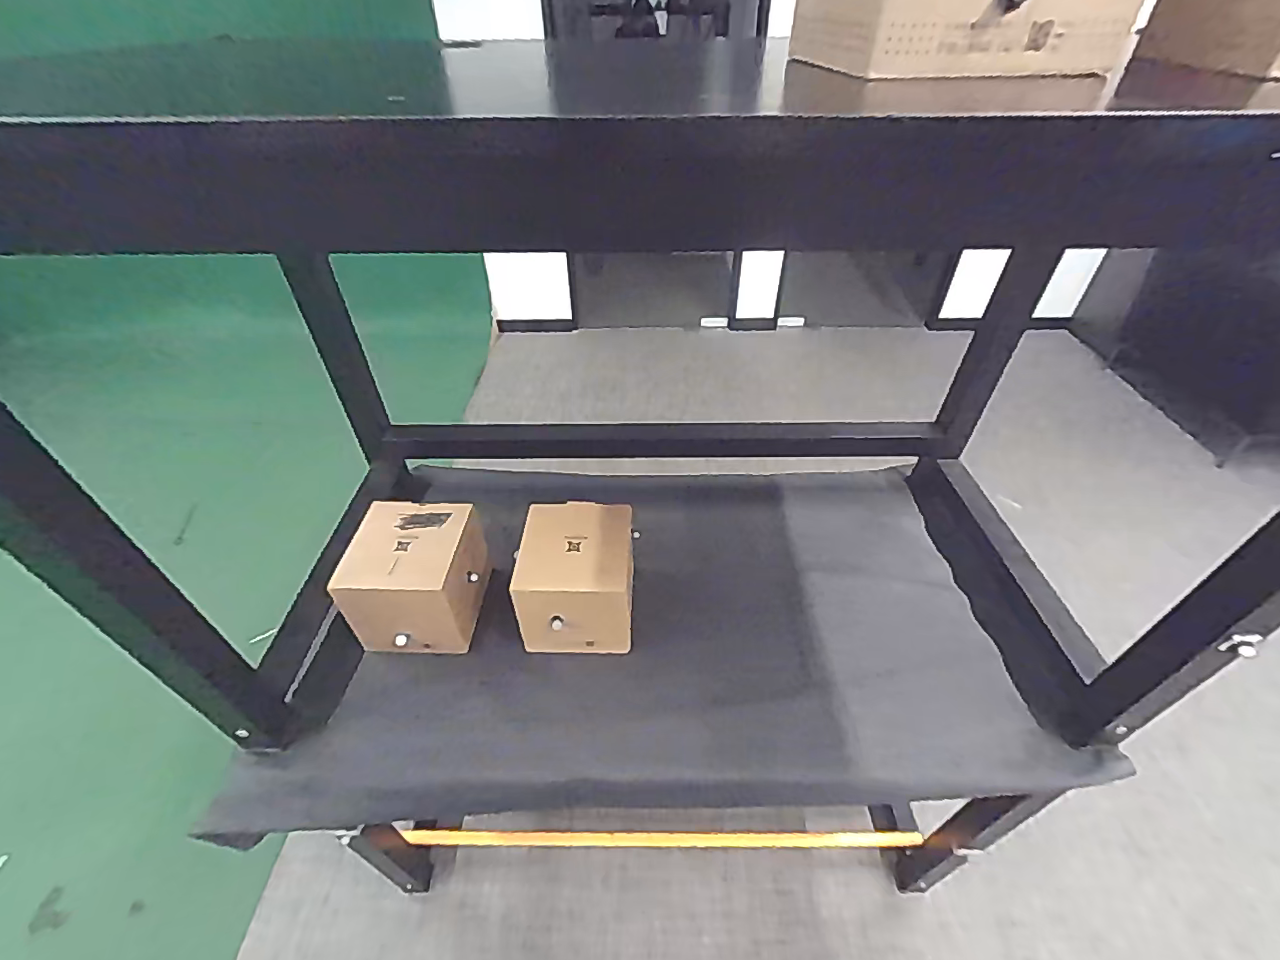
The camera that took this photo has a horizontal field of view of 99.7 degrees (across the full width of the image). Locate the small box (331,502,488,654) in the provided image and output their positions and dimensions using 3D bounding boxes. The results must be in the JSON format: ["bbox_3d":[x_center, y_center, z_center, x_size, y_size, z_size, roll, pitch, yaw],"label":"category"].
[{"bbox_3d":[-0.353,0.156,0.870,0.168,0.176,0.179,1,42,1],"label":"small box"}]

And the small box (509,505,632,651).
[{"bbox_3d":[-0.100,0.158,0.870,0.168,0.176,0.179,1,41,1],"label":"small box"}]

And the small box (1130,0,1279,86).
[{"bbox_3d":[0.462,-0.340,0.321,0.168,0.176,0.179,7,42,9],"label":"small box"}]
